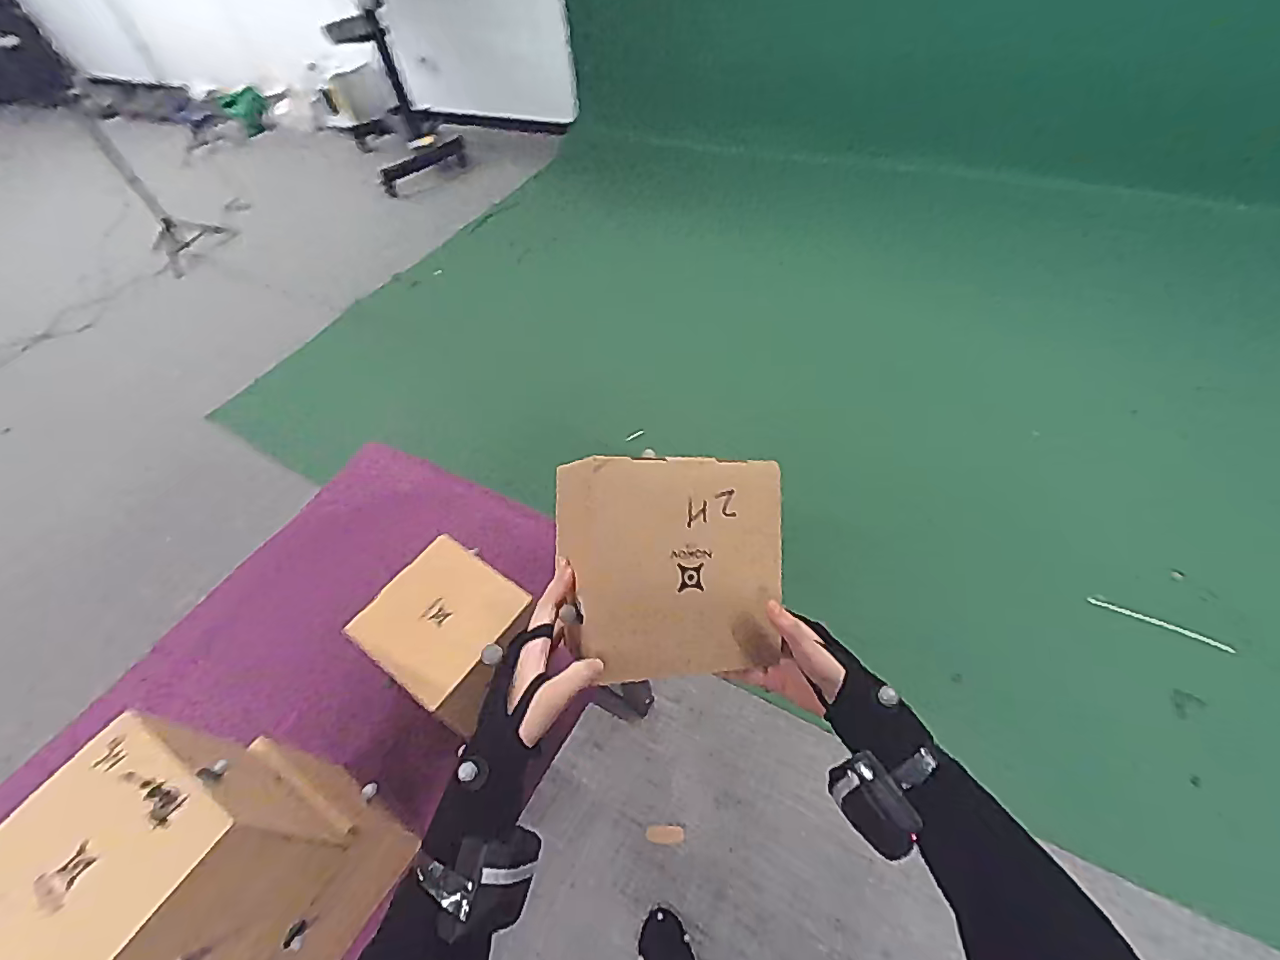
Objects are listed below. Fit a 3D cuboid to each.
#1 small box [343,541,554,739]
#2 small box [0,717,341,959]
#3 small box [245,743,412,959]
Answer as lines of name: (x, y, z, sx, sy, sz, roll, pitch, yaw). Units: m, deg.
small box: (-0.240, 0.218, 0.723, 0.179, 0.176, 0.168, 27, 60, 25)
small box: (-0.394, 0.334, 0.438, 0.168, 0.176, 0.179, 22, 58, 23)
small box: (-0.385, 0.424, 0.576, 0.168, 0.176, 0.179, 23, 57, 23)
